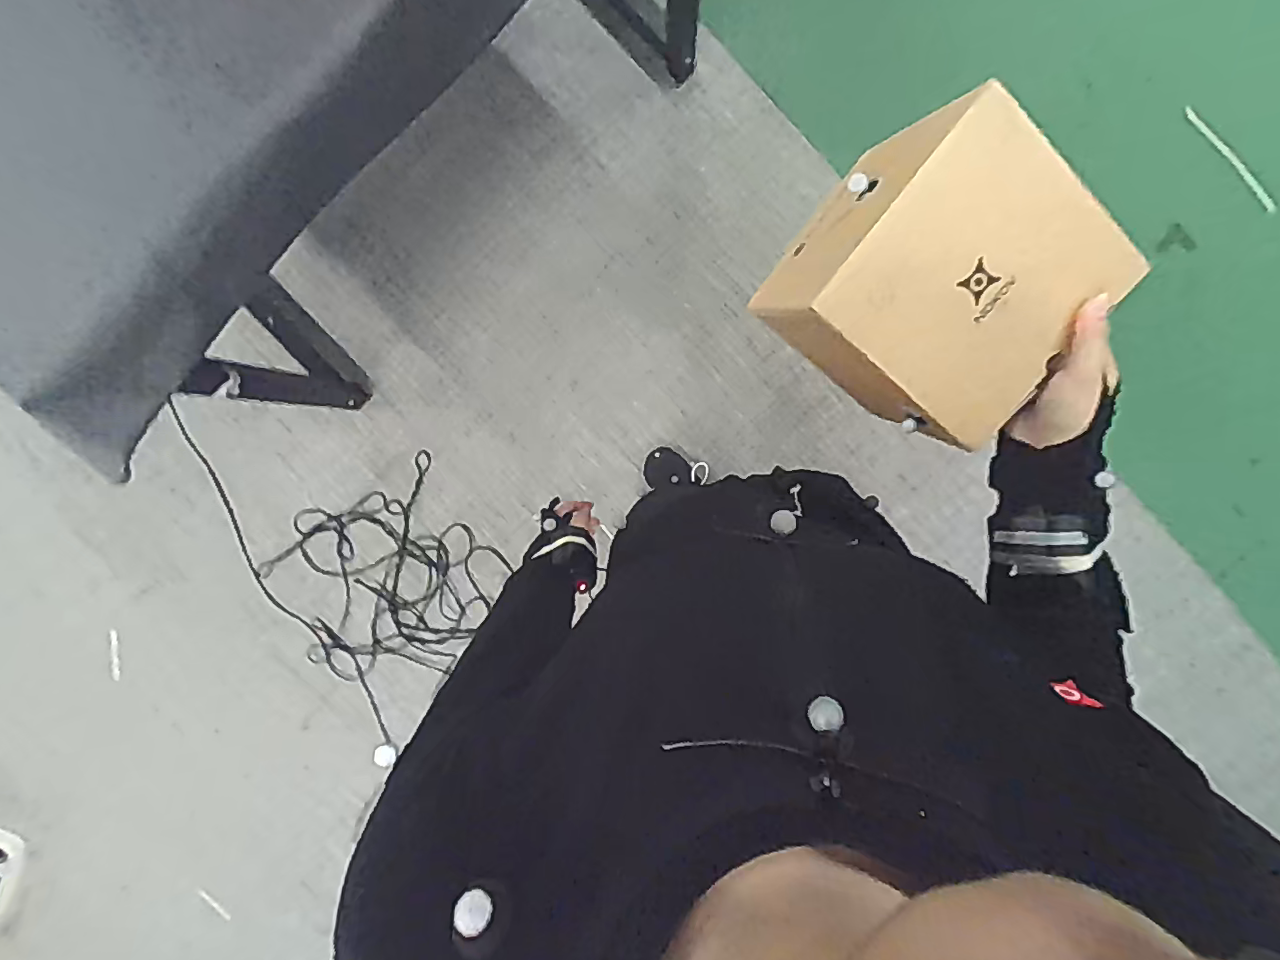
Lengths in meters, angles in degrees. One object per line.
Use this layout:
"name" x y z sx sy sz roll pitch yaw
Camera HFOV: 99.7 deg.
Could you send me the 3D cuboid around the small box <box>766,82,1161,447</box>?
"small box" 0.231 -0.156 0.437 0.179 0.176 0.168 36 102 -15
